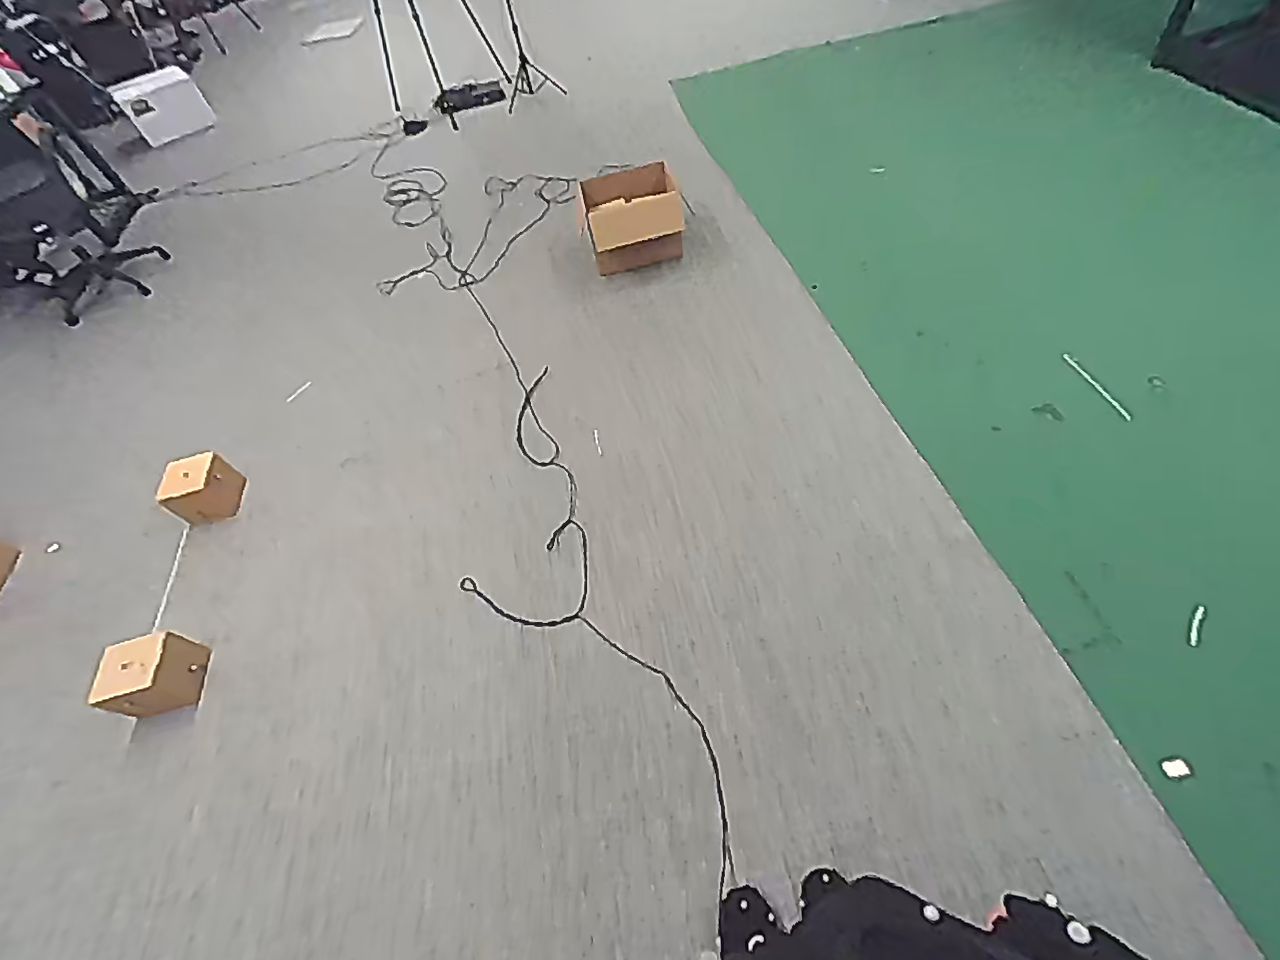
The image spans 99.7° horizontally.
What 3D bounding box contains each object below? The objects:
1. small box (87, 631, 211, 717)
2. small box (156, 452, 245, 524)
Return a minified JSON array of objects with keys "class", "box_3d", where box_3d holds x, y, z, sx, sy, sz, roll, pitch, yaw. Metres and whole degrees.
[{"class":"small box","box_3d":[-1.388,0.559,1.542,0.179,0.176,0.168,-16,54,-2]},{"class":"small box","box_3d":[-1.567,0.031,1.942,0.168,0.176,0.179,-15,55,-2]}]
